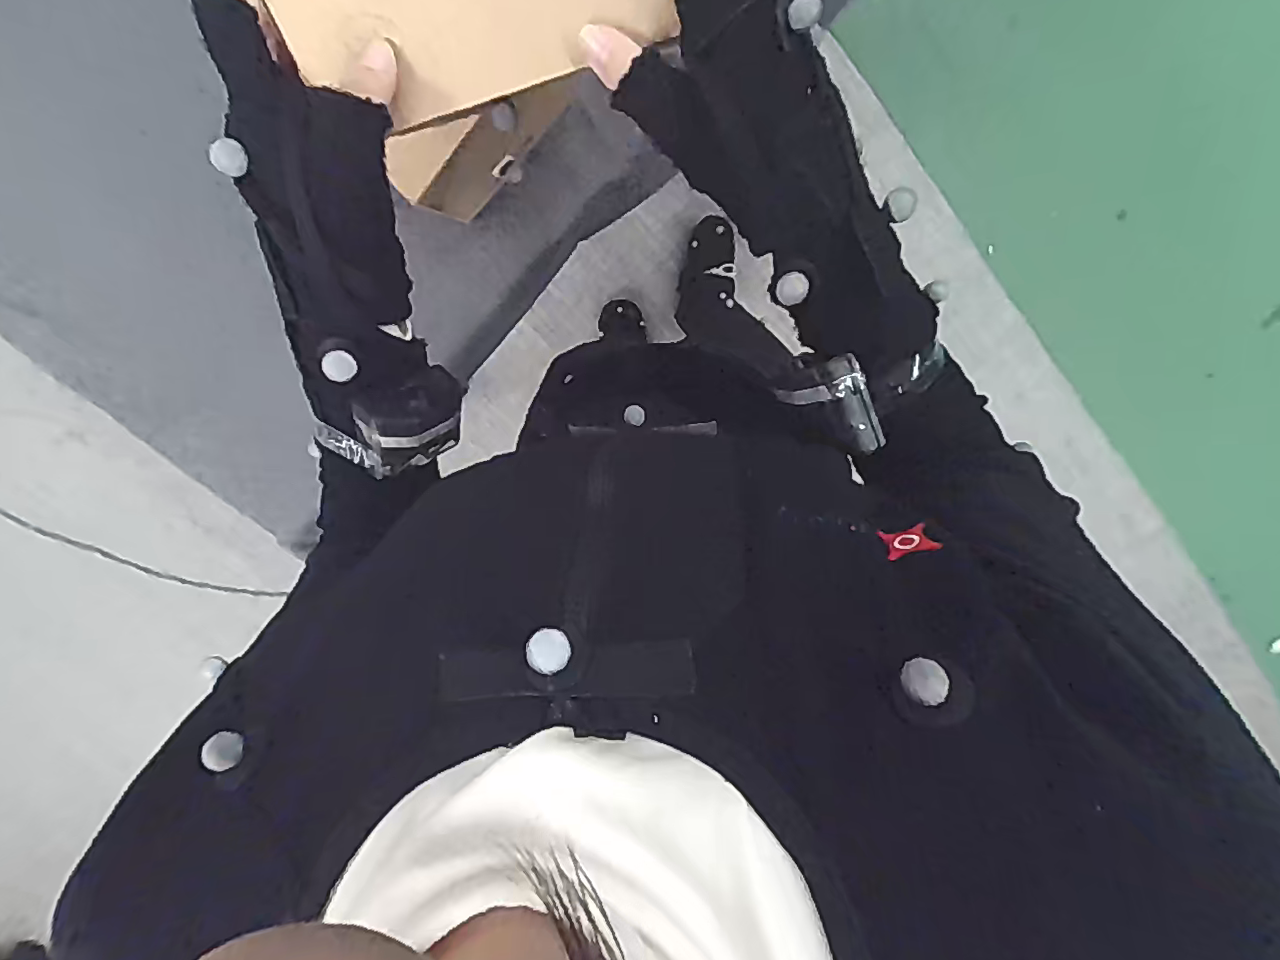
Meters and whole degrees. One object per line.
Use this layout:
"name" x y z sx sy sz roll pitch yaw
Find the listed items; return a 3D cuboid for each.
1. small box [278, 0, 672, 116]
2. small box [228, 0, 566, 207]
"small box" -0.081 -0.294 0.260 0.179 0.176 0.168 -15 124 7
"small box" -0.186 -0.368 0.471 0.179 0.176 0.168 41 106 -14
